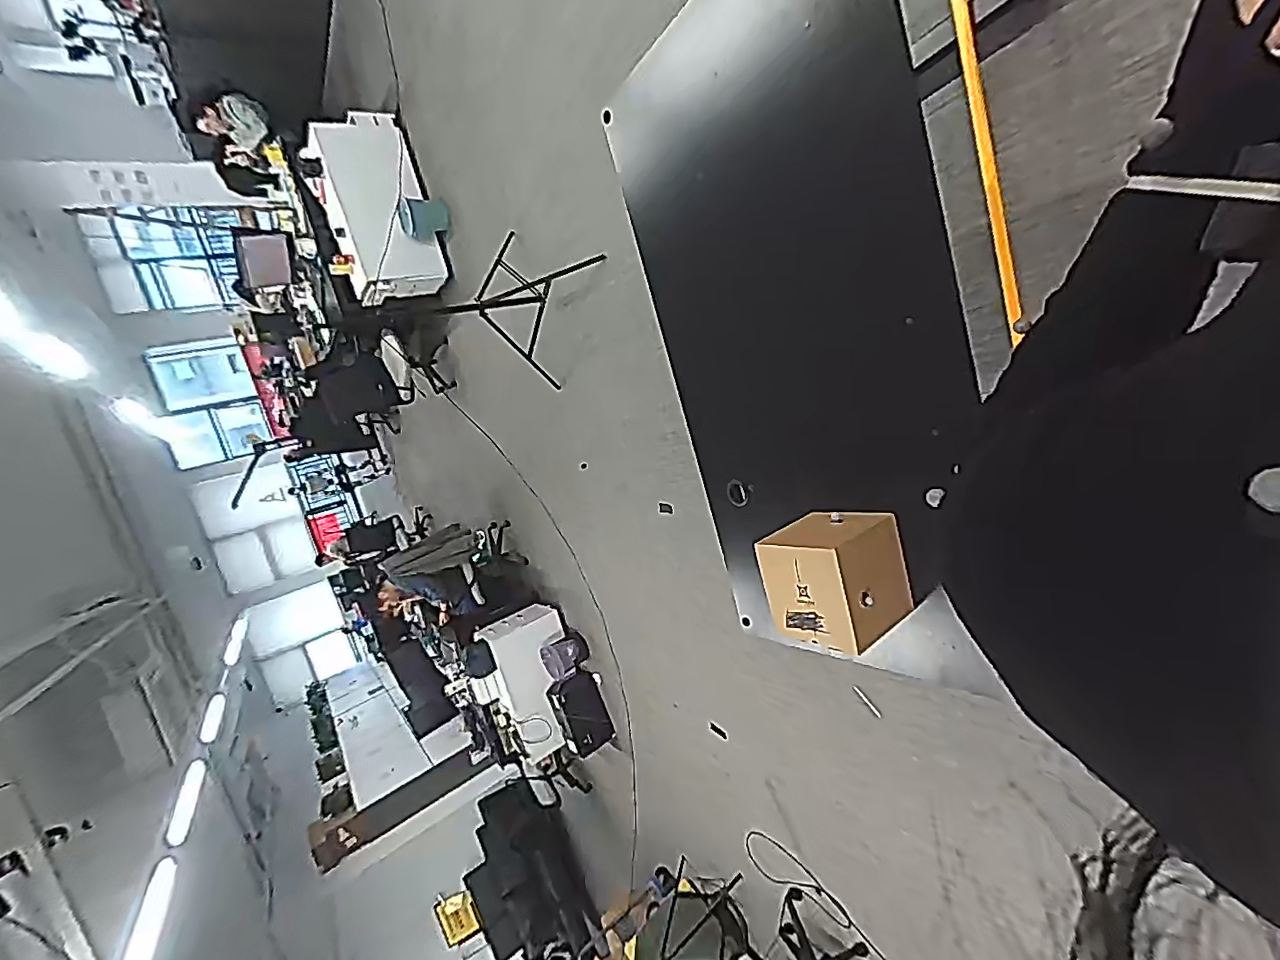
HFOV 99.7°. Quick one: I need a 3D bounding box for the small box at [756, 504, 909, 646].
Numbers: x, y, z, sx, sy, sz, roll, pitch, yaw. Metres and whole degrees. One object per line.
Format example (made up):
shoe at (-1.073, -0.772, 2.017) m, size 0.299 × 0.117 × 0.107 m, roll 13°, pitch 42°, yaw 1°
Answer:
small box at (0.331, 0.151, 0.923) m, size 0.168 × 0.176 × 0.179 m, roll -4°, pitch 104°, yaw 56°
